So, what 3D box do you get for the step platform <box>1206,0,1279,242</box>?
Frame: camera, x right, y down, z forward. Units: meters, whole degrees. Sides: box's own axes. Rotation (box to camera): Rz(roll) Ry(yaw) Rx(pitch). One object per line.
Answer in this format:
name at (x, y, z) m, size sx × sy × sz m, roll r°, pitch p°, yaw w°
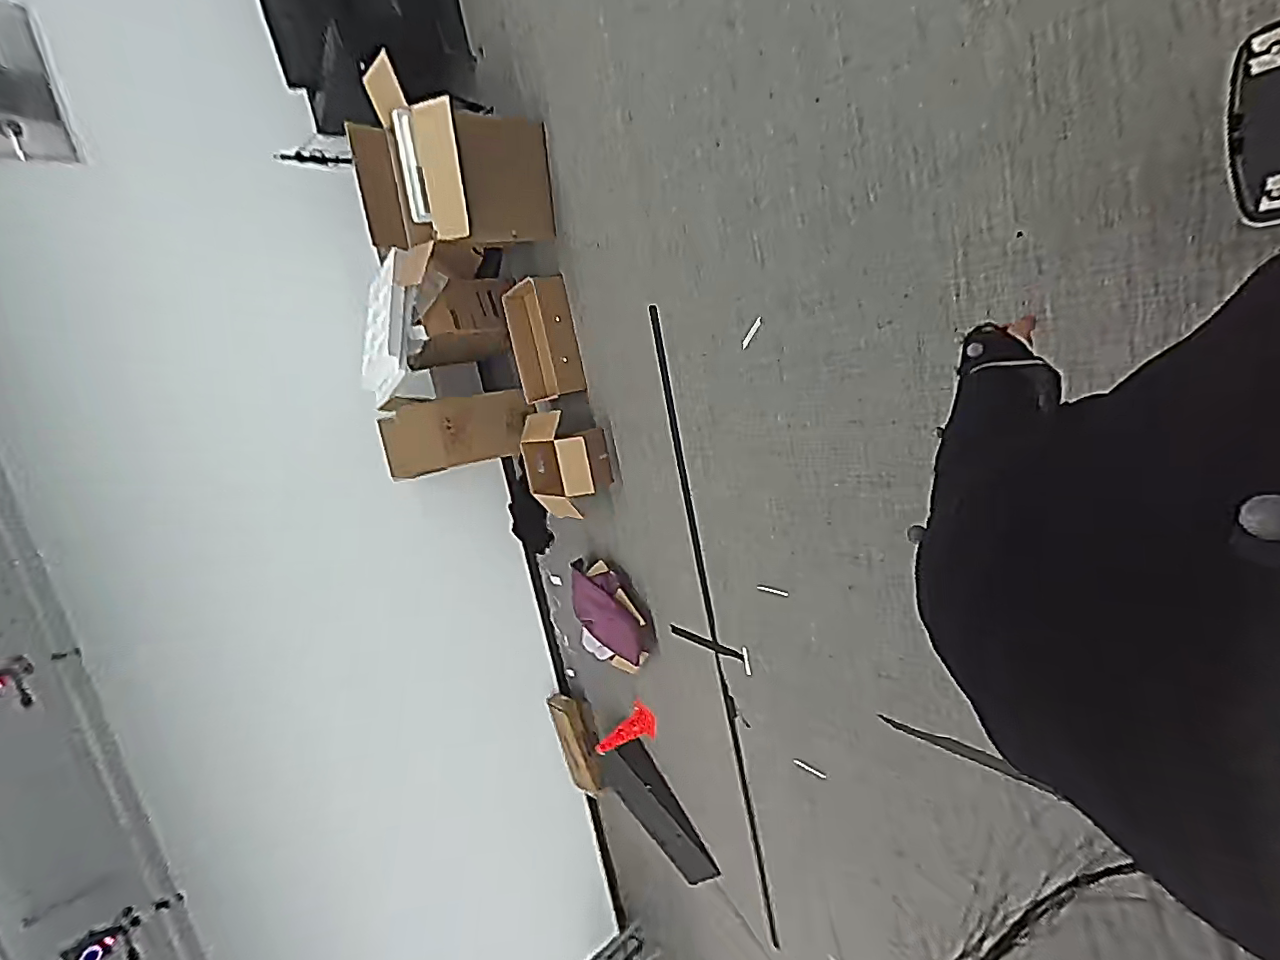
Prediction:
step platform at (1.029, -0.476, 0.500) m, size 0.684 × 0.204 × 0.286 m, roll 0°, pitch 105°, yaw 54°
